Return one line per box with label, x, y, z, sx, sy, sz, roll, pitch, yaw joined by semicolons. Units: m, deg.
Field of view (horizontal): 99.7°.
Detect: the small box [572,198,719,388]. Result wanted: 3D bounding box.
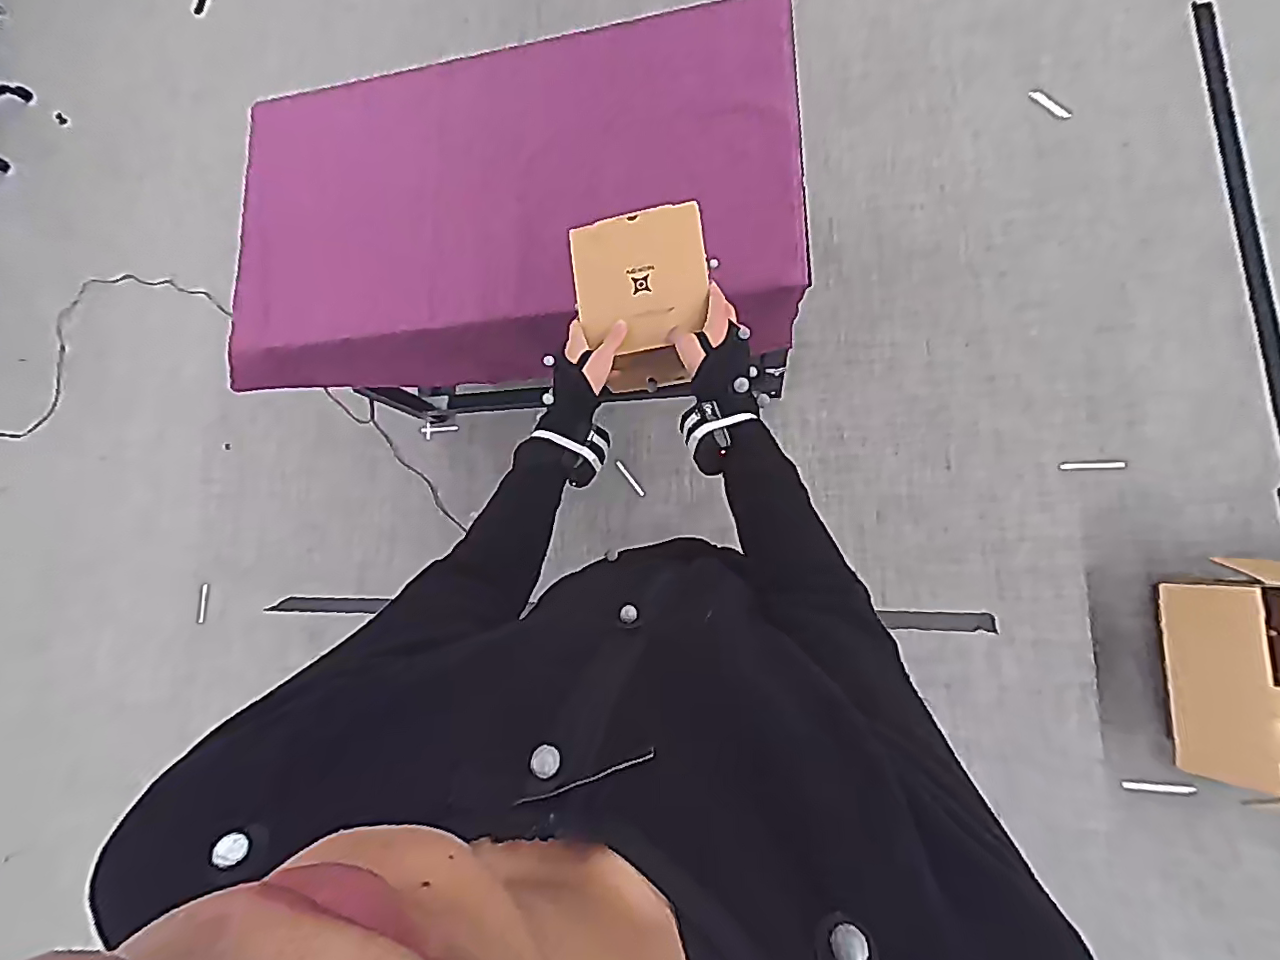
small box;0.015;-0.241;0.738;0.168;0.176;0.179;-8;83;10
